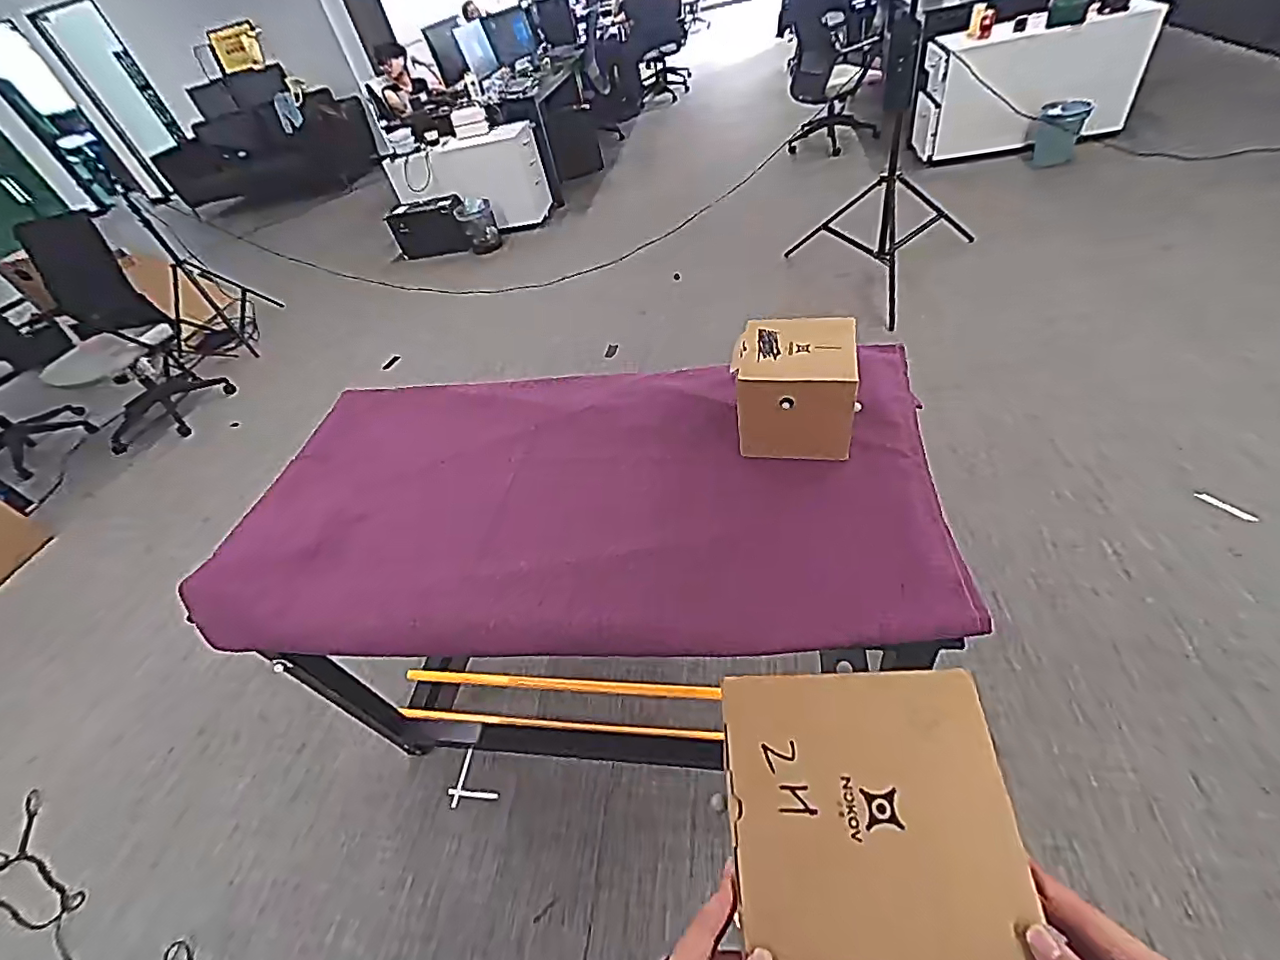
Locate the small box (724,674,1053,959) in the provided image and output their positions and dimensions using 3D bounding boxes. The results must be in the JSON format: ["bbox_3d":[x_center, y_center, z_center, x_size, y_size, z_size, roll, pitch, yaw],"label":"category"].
[{"bbox_3d":[0.158,0.250,0.420,0.179,0.176,0.168,-4,59,7],"label":"small box"}]

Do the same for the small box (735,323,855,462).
[{"bbox_3d":[0.261,-0.145,0.909,0.179,0.176,0.168,3,49,16],"label":"small box"}]
